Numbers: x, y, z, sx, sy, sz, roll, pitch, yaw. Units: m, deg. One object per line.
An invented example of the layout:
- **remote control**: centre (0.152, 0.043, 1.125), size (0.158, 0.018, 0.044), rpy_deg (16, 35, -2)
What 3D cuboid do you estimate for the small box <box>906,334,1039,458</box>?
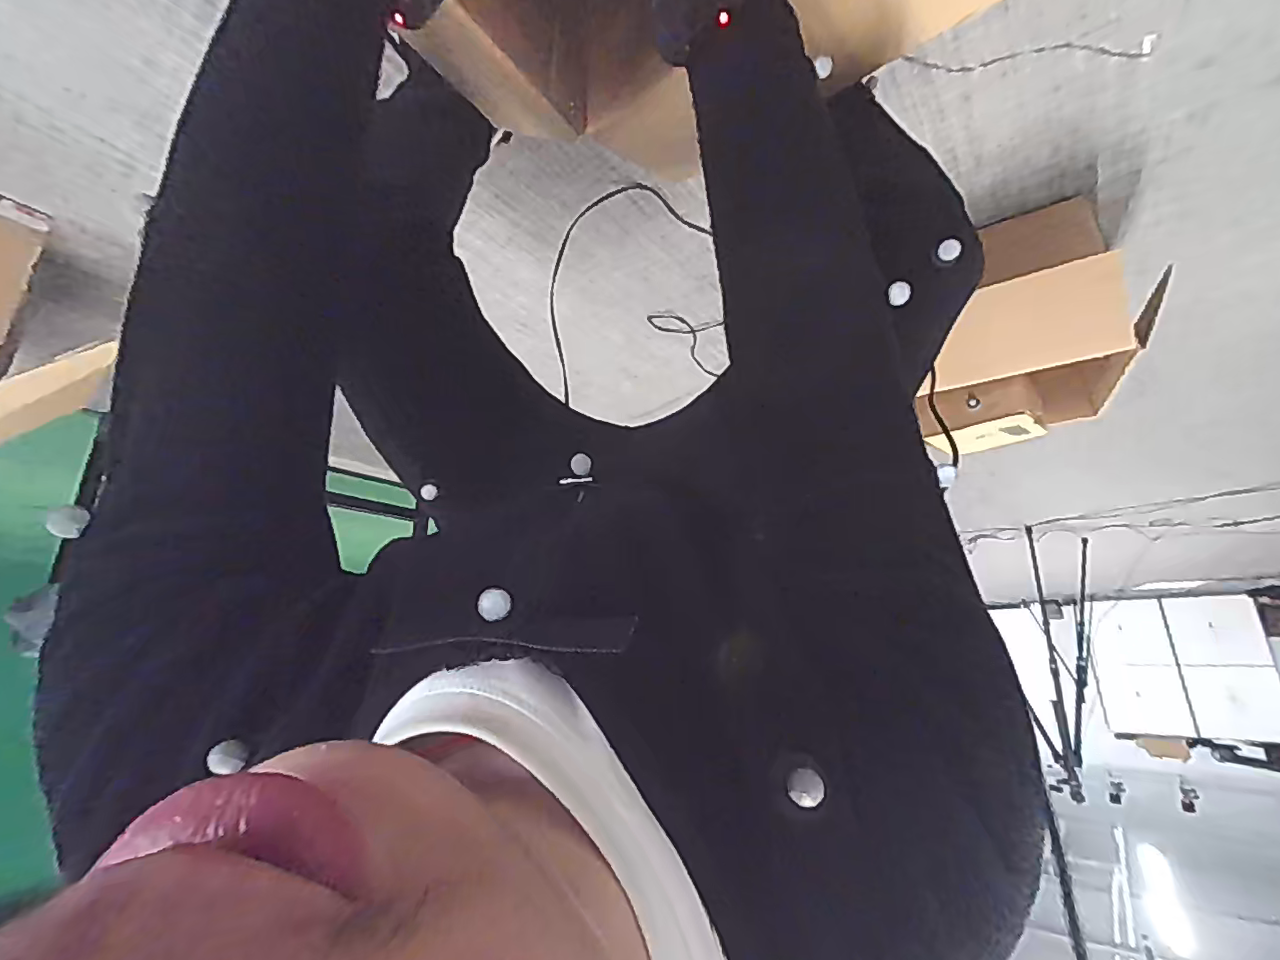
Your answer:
- **small box**: centre (0.658, -0.163, 1.077), size (0.179, 0.176, 0.168), rpy_deg (-18, 154, 41)
